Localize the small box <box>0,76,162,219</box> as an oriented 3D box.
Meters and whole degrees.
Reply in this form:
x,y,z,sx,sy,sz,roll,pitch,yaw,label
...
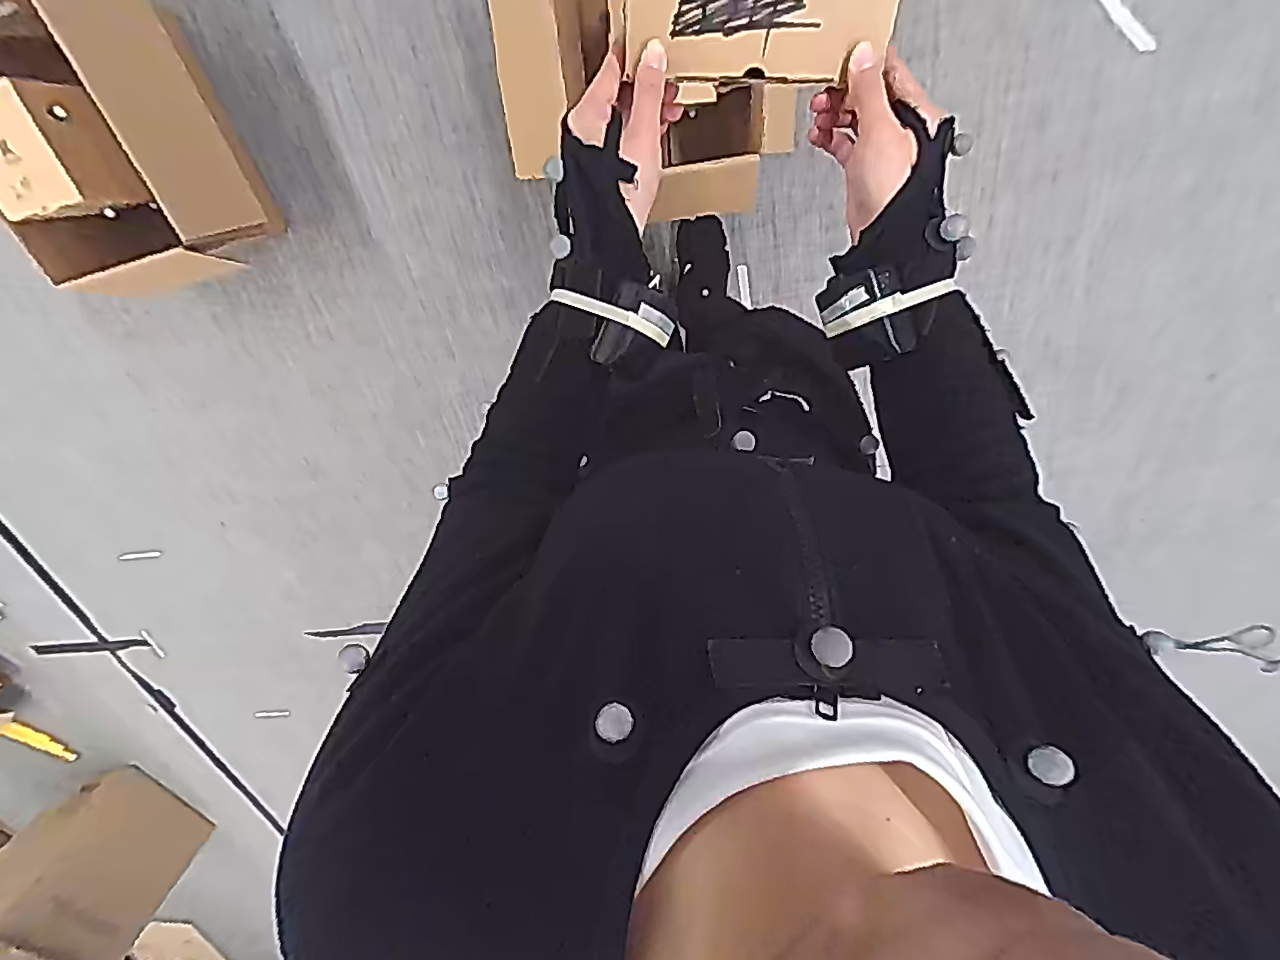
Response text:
x,y,z,sx,sy,sz,roll,pitch,yaw,label
-1.022,-0.575,0.952,0.168,0.176,0.179,-8,120,10,small box

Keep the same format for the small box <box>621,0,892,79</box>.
x,y,z,sx,sy,sz,roll,pitch,yaw,label
0.073,-0.378,0.359,0.168,0.176,0.179,1,126,0,small box
